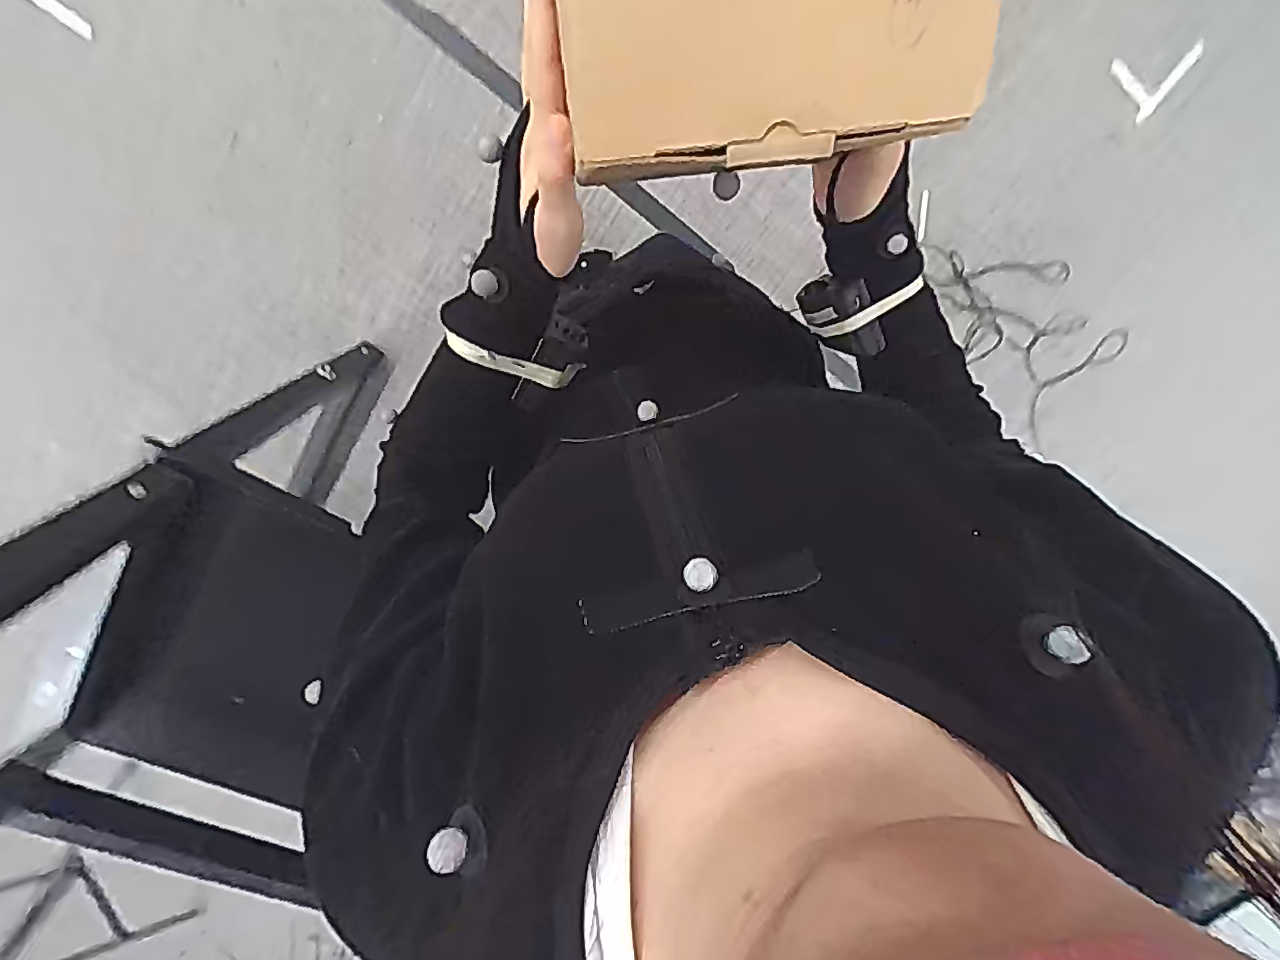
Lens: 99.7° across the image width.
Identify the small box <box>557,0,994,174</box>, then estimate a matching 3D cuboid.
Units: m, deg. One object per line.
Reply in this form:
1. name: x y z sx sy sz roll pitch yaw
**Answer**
1. small box: 0.043 -0.248 0.252 0.168 0.176 0.179 -7 117 -3
